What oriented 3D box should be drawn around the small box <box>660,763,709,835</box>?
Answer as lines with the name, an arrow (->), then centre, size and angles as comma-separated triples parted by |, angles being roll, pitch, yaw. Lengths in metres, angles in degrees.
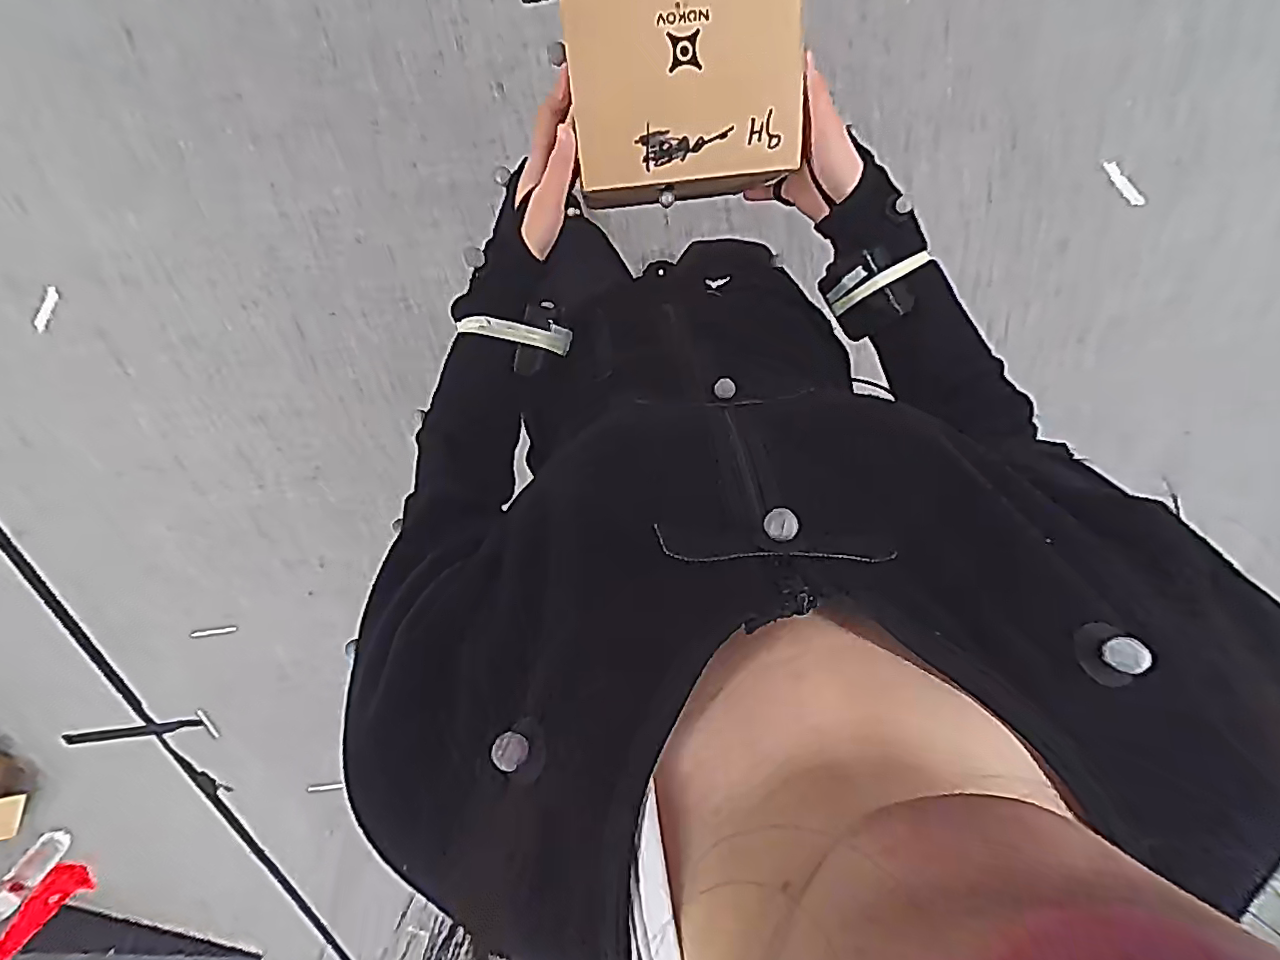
small box -> 0.172, 1.239, 2.106 | 0.168, 0.176, 0.179 | -10, 115, 2

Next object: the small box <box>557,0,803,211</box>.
small box -> 0.022, -0.330, 0.439 | 0.168, 0.176, 0.179 | -7, 112, -2
